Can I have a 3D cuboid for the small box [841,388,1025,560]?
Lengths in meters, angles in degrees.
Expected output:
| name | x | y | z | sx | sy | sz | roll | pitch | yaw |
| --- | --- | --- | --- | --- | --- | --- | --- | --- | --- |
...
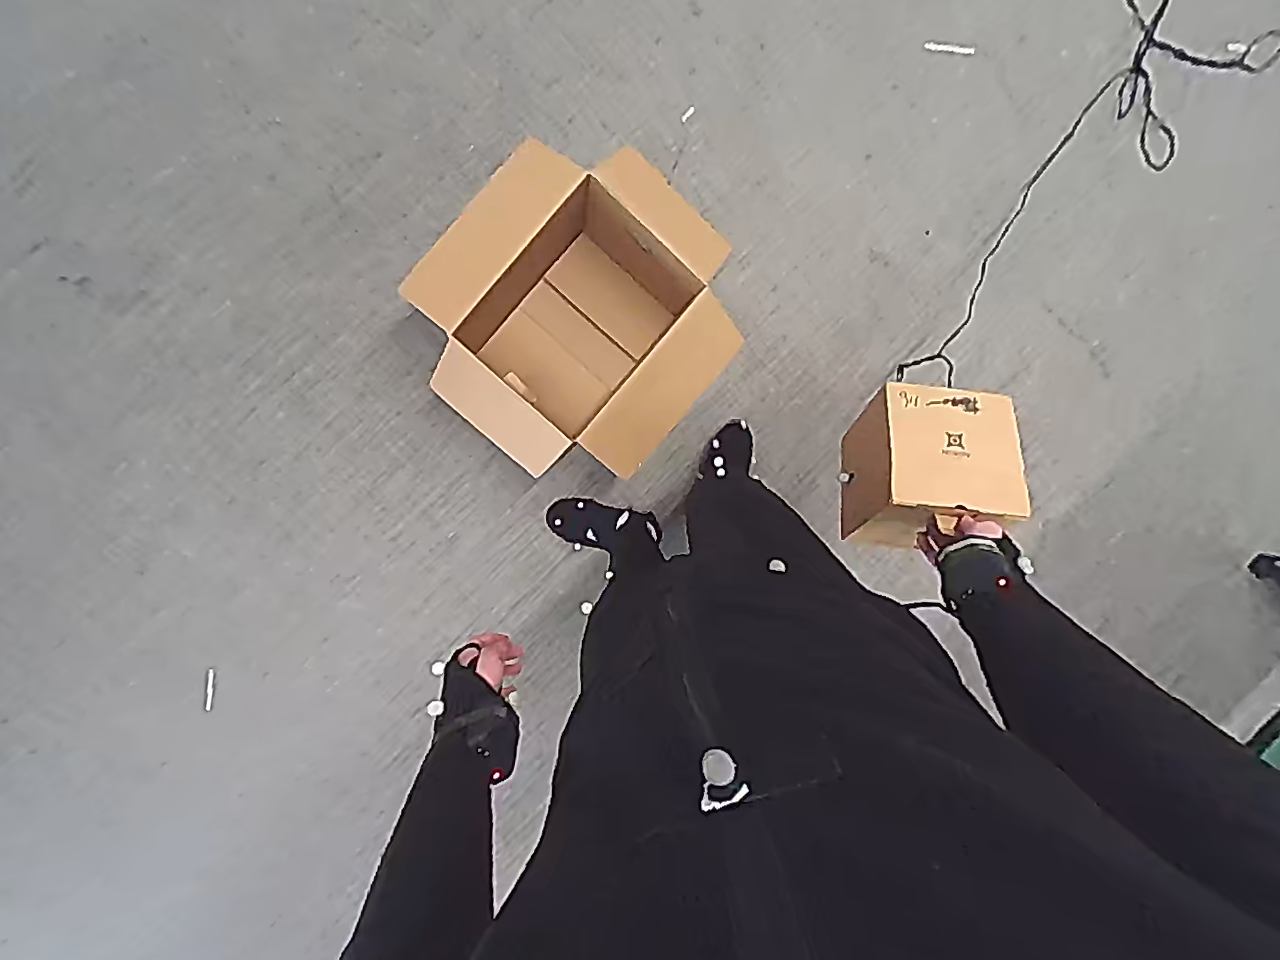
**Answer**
| name | x | y | z | sx | sy | sz | roll | pitch | yaw |
| --- | --- | --- | --- | --- | --- | --- | --- | --- | --- |
| small box | 0.390 | 0.000 | 0.751 | 0.168 | 0.176 | 0.179 | 9 | 66 | 3 |
